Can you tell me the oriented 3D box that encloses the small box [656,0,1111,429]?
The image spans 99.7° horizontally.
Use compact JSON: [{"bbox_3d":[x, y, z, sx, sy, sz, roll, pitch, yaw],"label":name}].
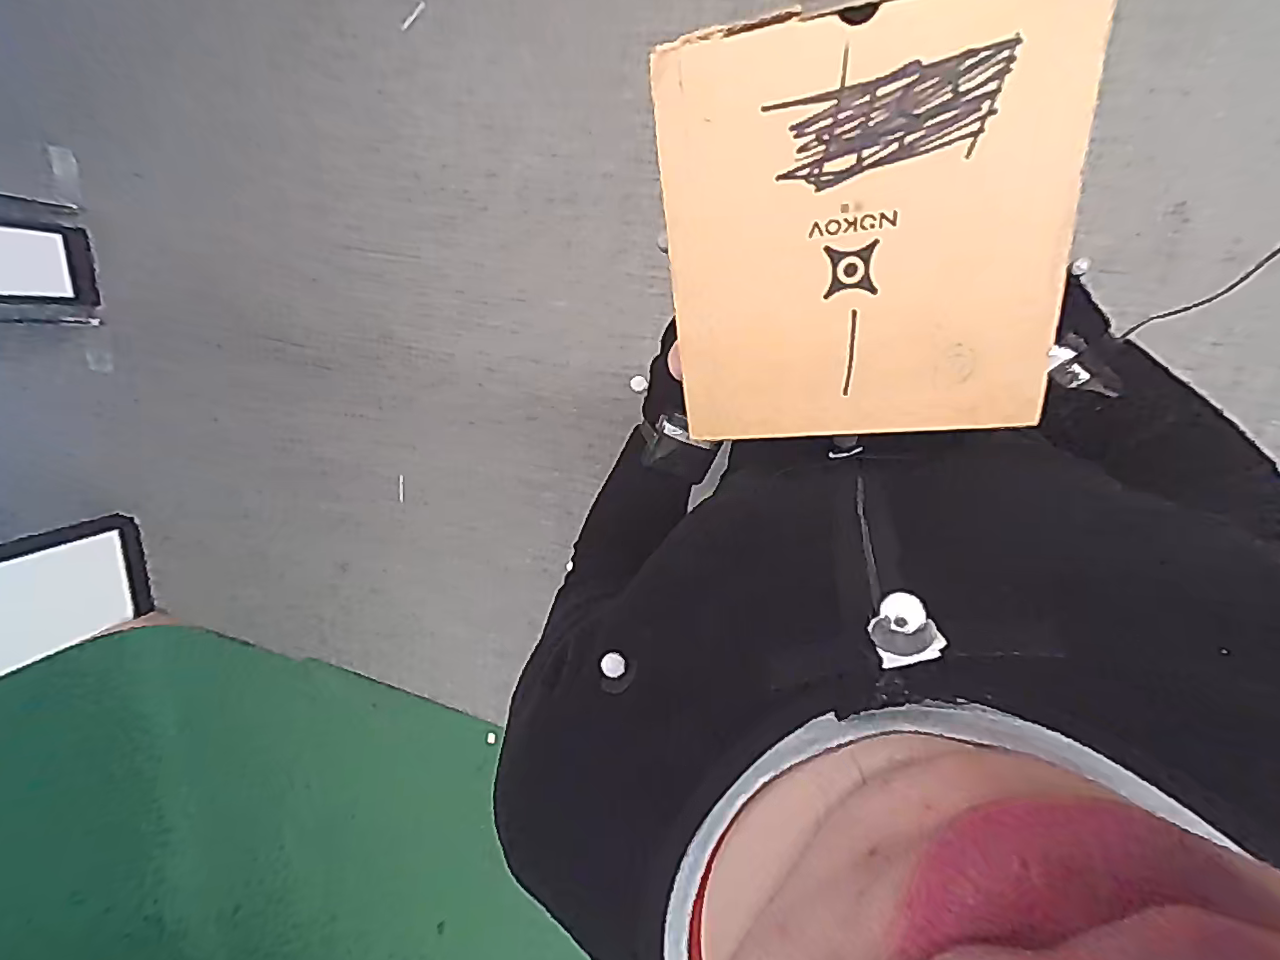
[{"bbox_3d":[0.112,-0.142,0.307,0.168,0.176,0.179,-1,117,15],"label":"small box"}]
